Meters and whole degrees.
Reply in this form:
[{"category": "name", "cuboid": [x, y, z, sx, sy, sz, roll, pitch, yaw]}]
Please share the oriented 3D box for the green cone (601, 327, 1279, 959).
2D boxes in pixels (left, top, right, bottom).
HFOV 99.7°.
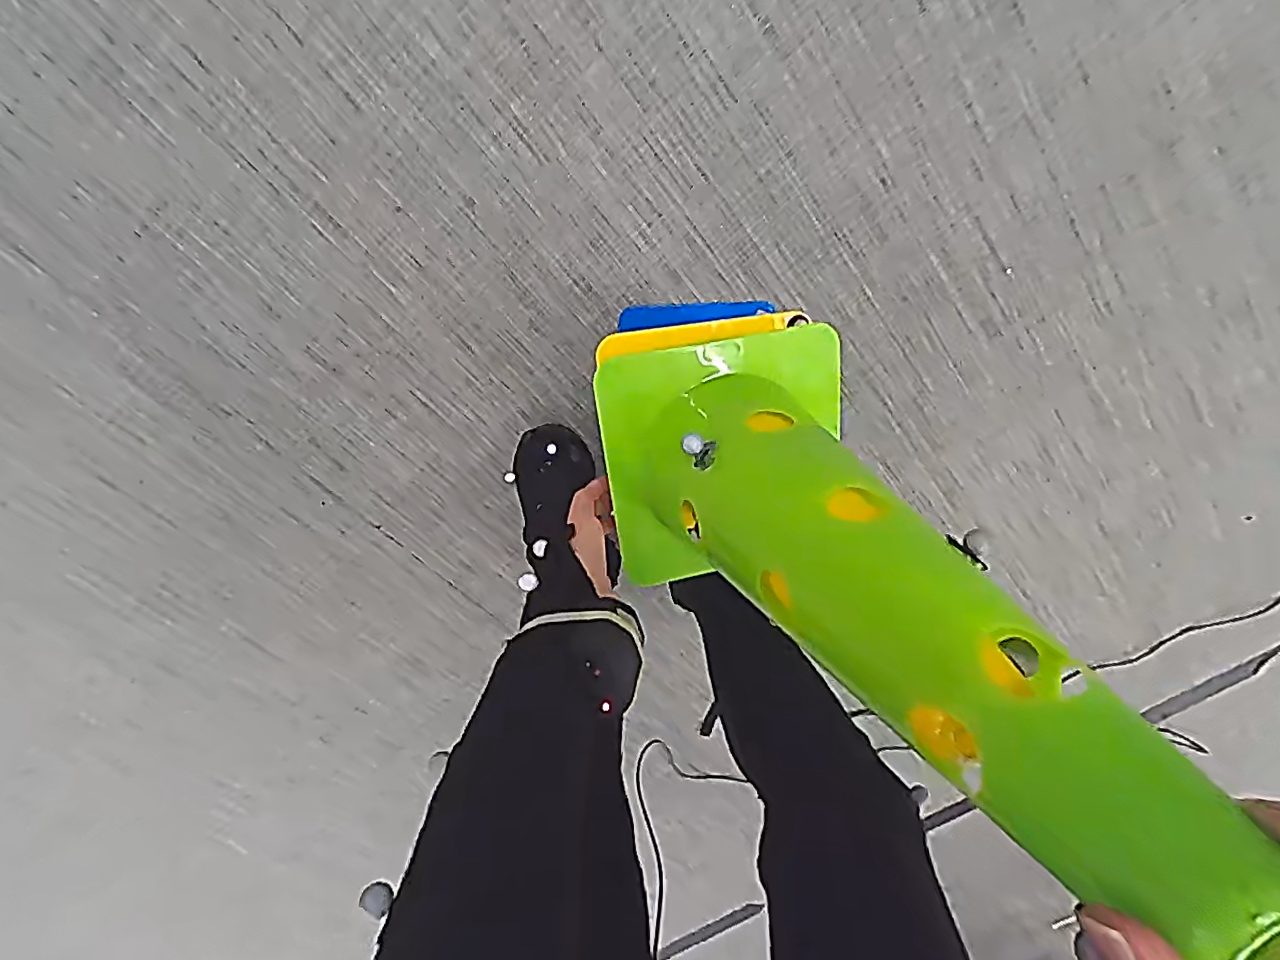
[{"category": "green cone", "cuboid": [0.109, 0.045, 0.283, 0.202, 0.368, 0.200, -12, 112, -7]}]
